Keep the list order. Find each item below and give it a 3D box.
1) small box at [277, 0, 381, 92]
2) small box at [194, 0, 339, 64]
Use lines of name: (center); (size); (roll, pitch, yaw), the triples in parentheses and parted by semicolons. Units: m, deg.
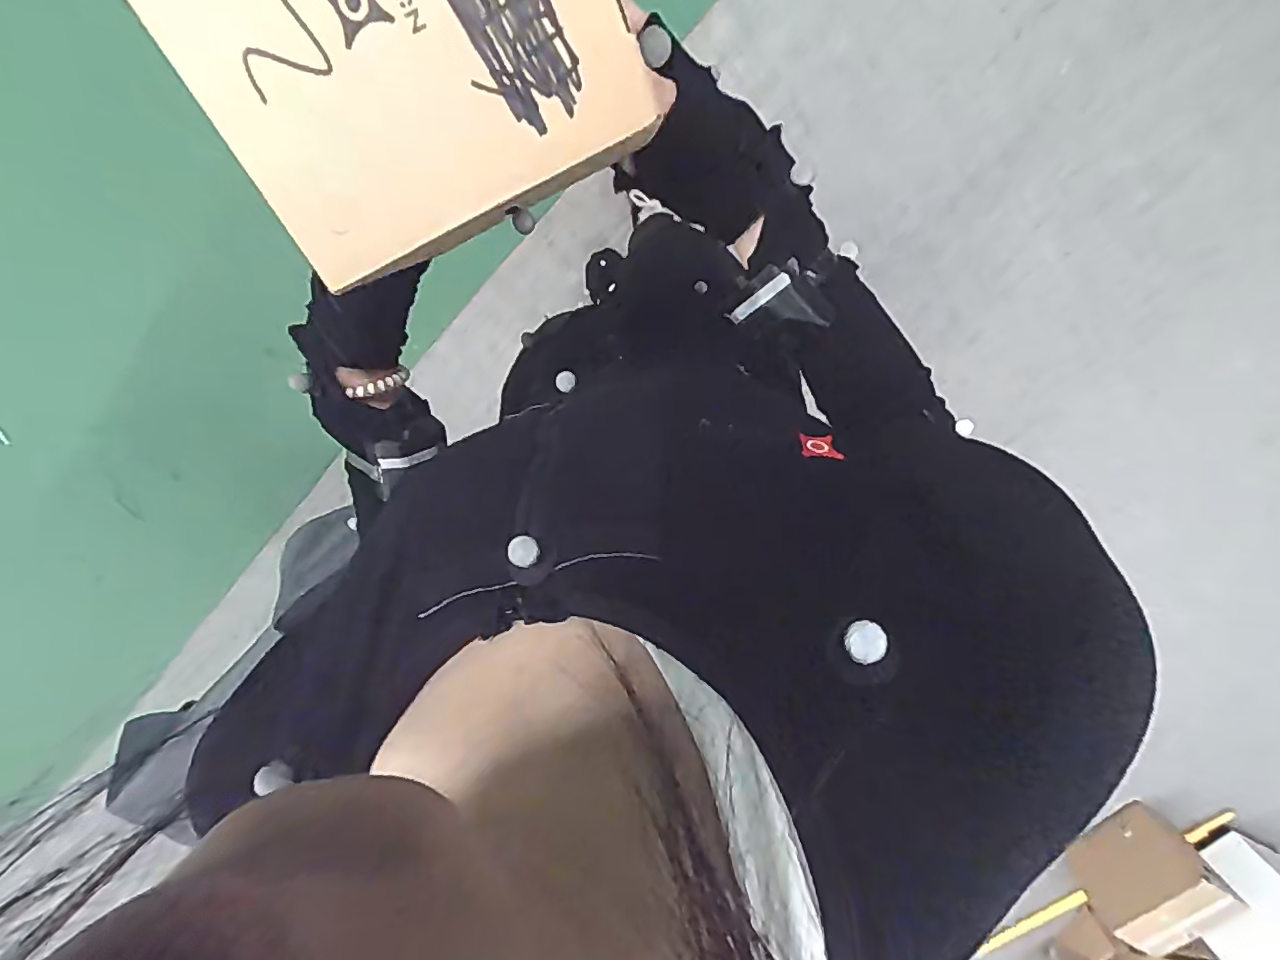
small box: (-0.649, -0.902, 1.055); (0.168, 0.176, 0.179); (-38, 109, 14)
small box: (-0.646, -0.847, 0.899); (0.179, 0.176, 0.168); (-38, 109, 15)
